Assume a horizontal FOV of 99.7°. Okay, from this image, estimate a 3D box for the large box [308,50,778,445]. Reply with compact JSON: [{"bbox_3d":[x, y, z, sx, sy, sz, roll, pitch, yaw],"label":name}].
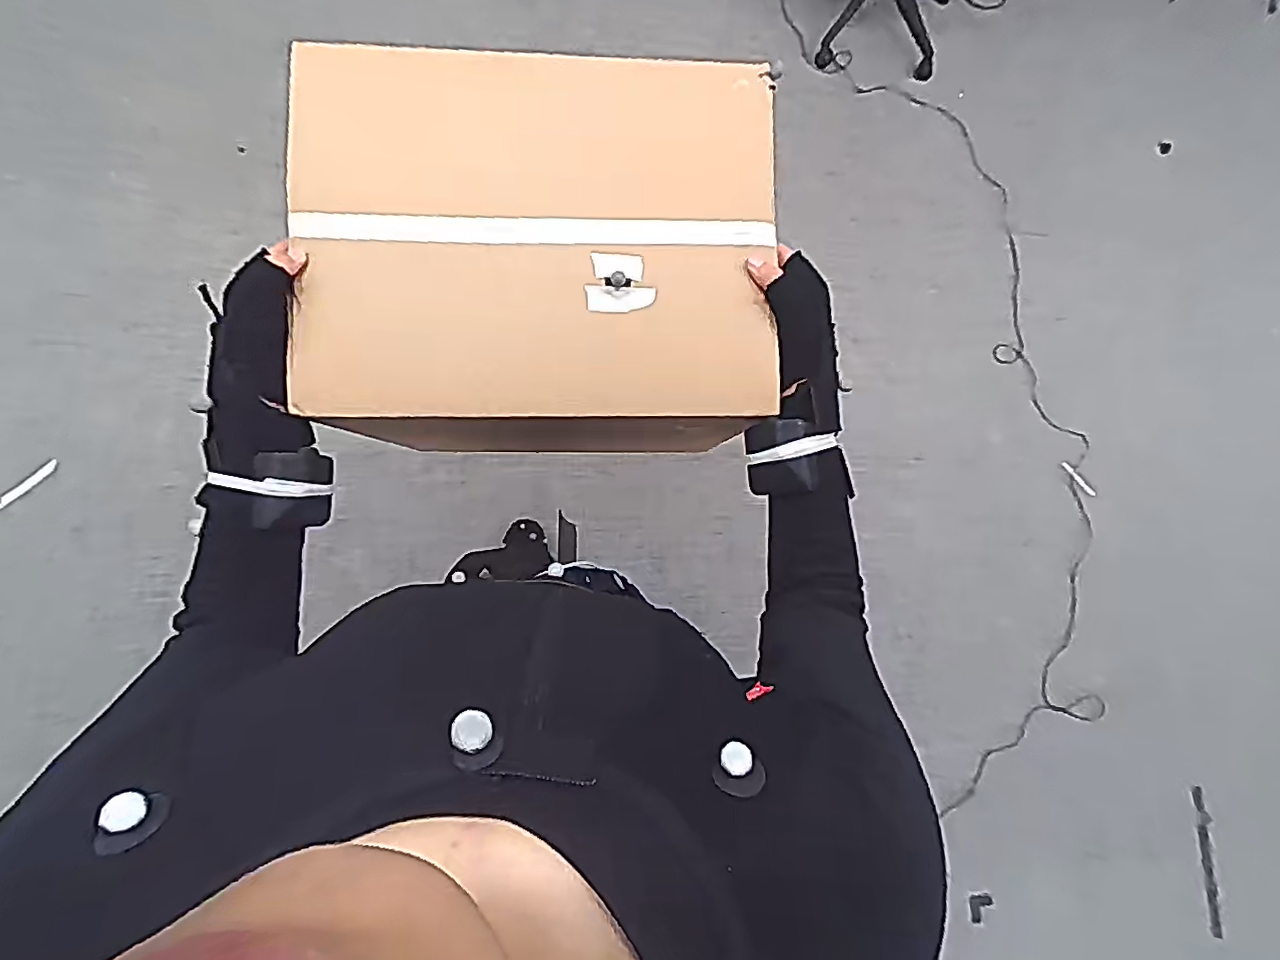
[{"bbox_3d":[-0.092,-0.211,0.615,0.408,0.320,0.320,-1,89,-5],"label":"large box"}]
